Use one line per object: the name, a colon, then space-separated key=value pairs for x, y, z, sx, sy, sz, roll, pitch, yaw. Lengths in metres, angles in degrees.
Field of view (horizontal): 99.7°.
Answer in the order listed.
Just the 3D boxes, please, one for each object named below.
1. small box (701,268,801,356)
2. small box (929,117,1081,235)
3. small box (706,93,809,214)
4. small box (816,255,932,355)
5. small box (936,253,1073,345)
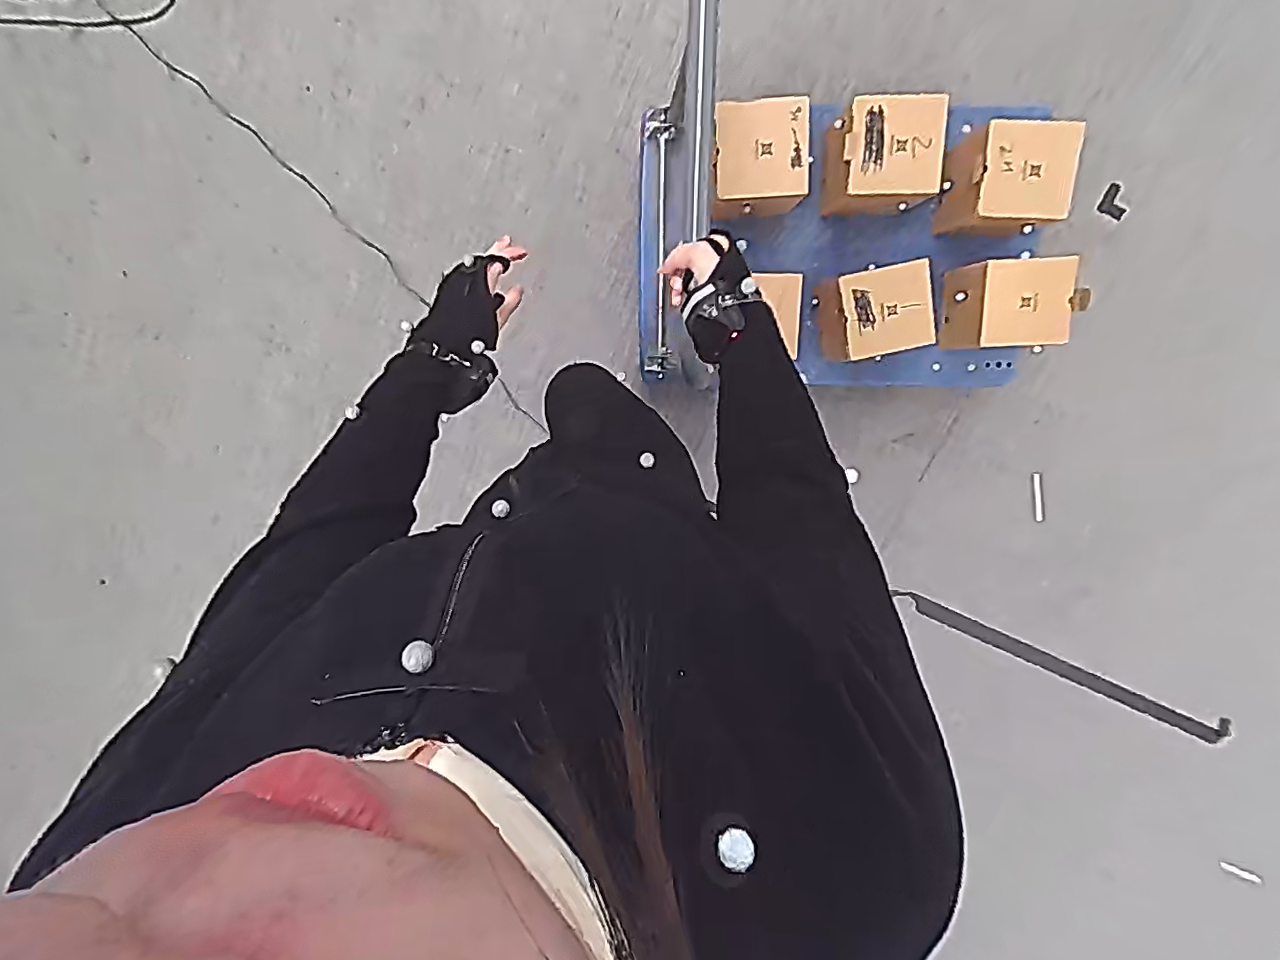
small box: x=0.227 y=-0.351 z=1.150 sx=0.179 sy=0.176 sz=0.168 roll=1 pitch=104 yaw=-1
small box: x=0.722 y=-0.601 z=1.088 sx=0.179 sy=0.176 sz=0.168 roll=3 pitch=103 yaw=0
small box: x=0.225 y=-0.641 z=1.080 sx=0.179 sy=0.176 sz=0.168 roll=-2 pitch=104 yaw=1
small box: x=0.484 y=-0.361 z=1.146 sx=0.179 sy=0.176 sz=0.168 roll=-11 pitch=103 yaw=2
small box: x=0.757 y=-0.375 z=1.143 sx=0.179 sy=0.176 sz=0.168 roll=-2 pitch=103 yaw=1
